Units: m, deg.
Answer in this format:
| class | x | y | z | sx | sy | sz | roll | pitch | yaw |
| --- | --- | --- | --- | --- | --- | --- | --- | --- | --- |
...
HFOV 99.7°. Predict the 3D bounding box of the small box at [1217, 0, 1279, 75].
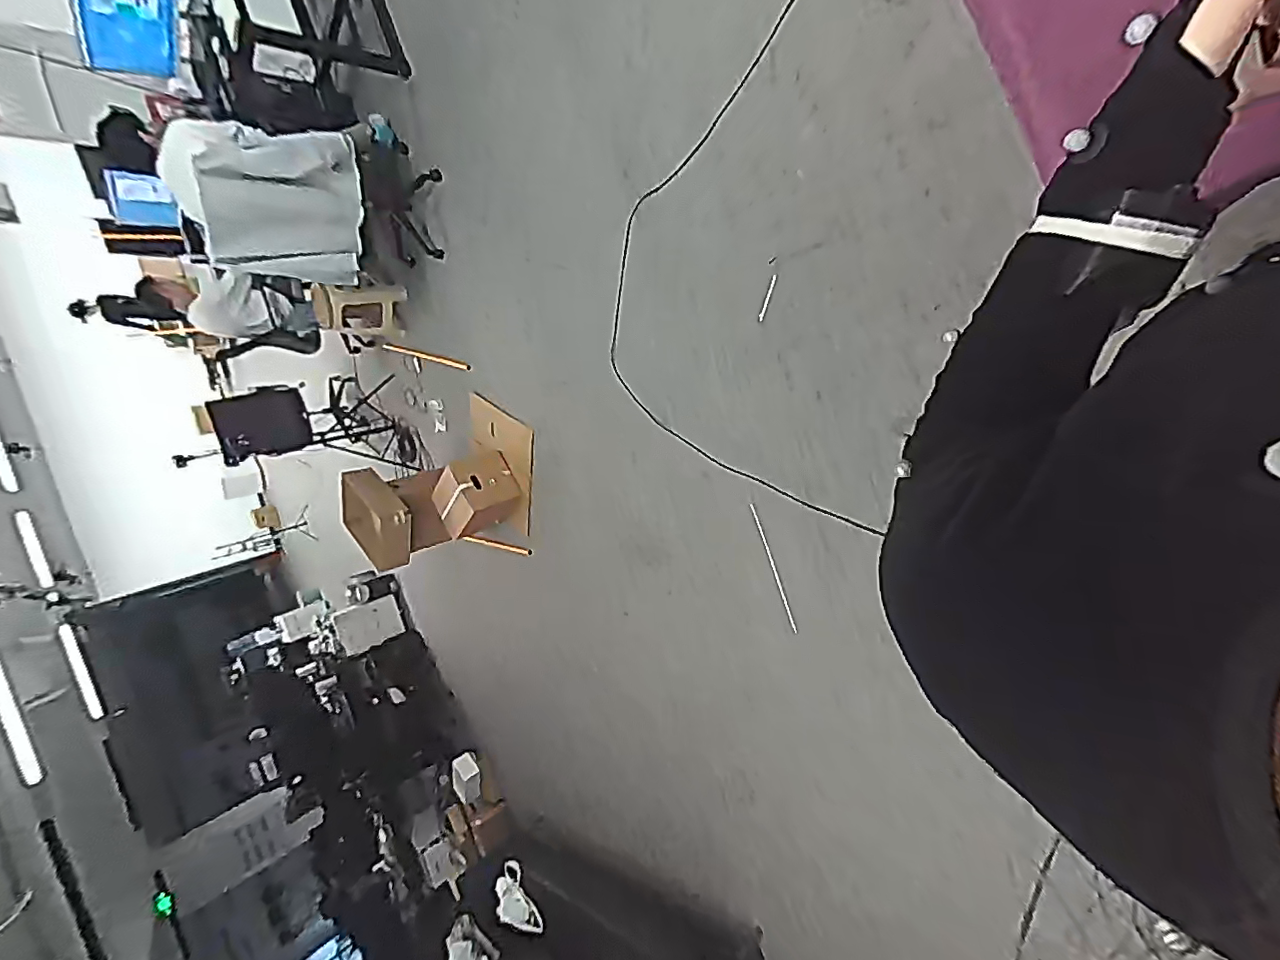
| class | x | y | z | sx | sy | sz | roll | pitch | yaw |
| --- | --- | --- | --- | --- | --- | --- | --- | --- | --- |
| small box | 0.507 | -0.423 | 0.362 | 0.179 | 0.176 | 0.168 | -16 | 93 | 48 |
